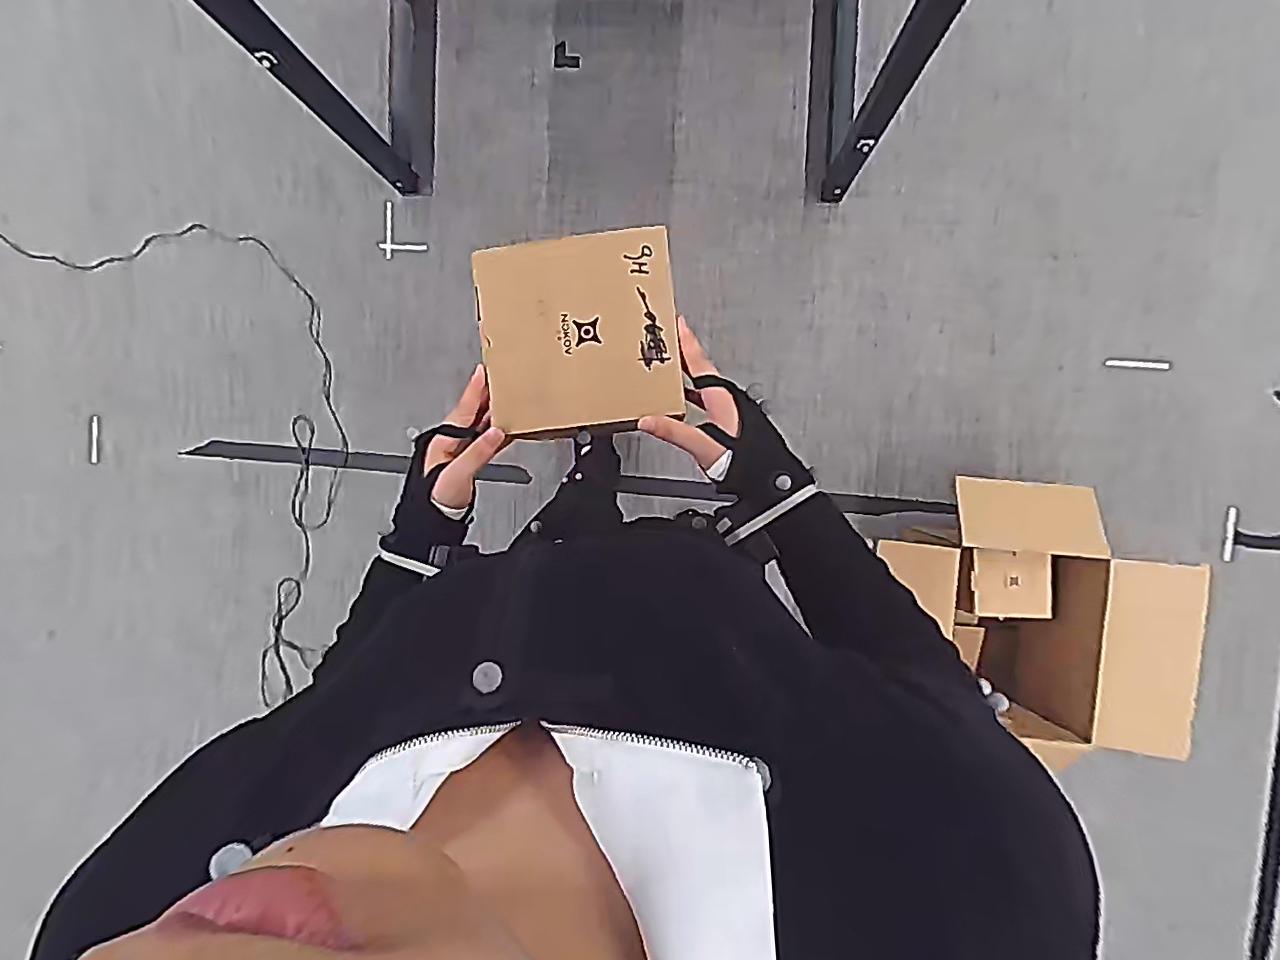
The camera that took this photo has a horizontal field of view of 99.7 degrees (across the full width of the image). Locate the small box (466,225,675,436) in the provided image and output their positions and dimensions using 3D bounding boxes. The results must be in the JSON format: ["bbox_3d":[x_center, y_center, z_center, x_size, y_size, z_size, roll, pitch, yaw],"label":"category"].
[{"bbox_3d":[-0.058,-0.137,0.561,0.179,0.176,0.168,-6,92,4],"label":"small box"}]
